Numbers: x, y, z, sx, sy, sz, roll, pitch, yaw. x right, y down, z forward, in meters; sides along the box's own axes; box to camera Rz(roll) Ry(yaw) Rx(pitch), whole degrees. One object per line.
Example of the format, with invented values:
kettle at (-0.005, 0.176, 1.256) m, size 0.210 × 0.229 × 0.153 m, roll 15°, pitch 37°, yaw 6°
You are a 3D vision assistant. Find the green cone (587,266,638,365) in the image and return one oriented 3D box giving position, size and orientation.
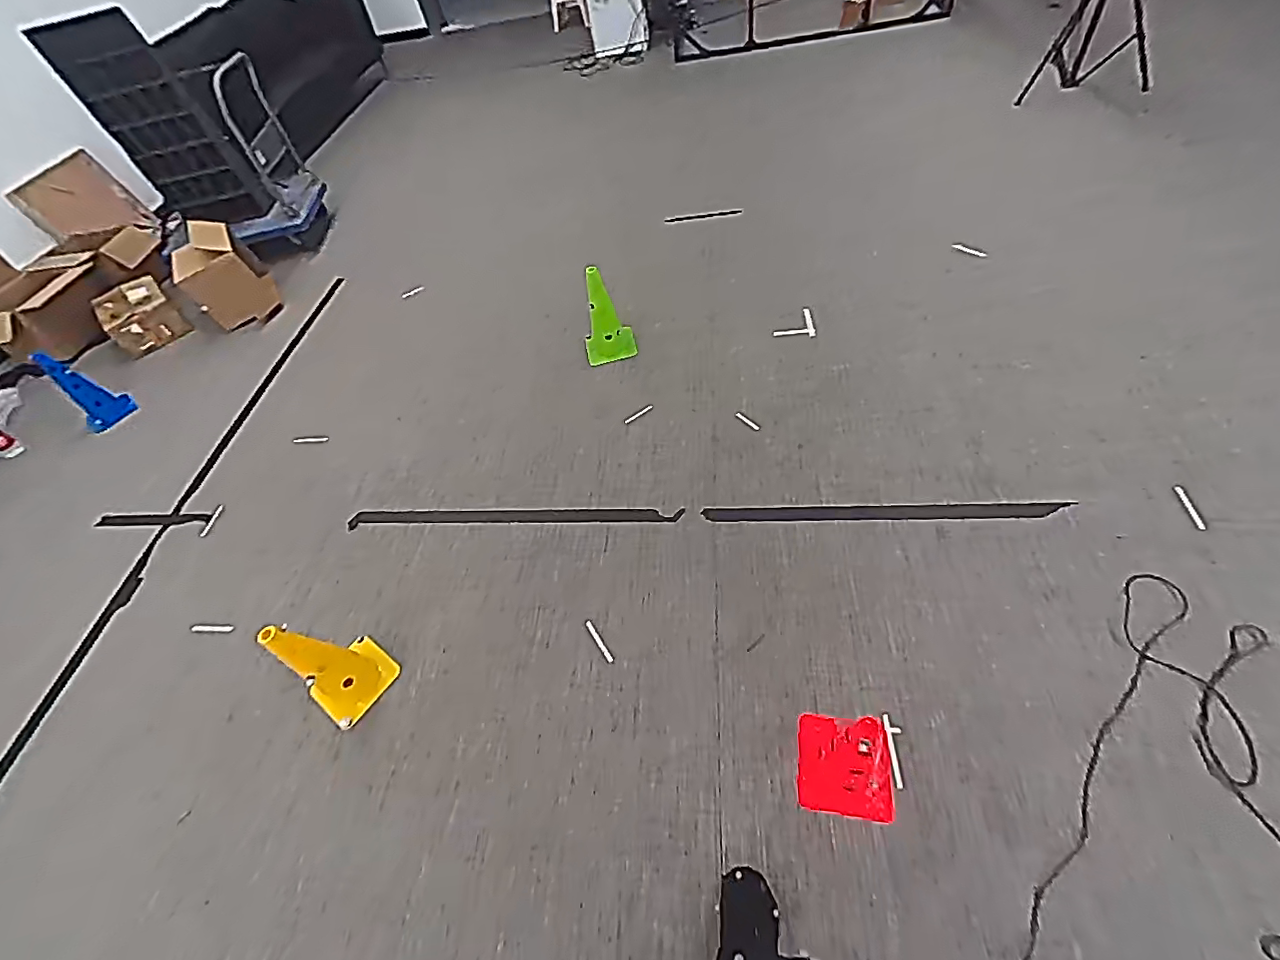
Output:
green cone at (-0.143, -0.663, 2.123) m, size 0.202 × 0.368 × 0.200 m, roll -14°, pitch 52°, yaw 0°

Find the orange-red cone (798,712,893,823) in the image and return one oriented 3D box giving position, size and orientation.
orange-red cone at (0.428, 0.533, 1.076) m, size 0.199 × 0.360 × 0.198 m, roll 3°, pitch 53°, yaw 16°
